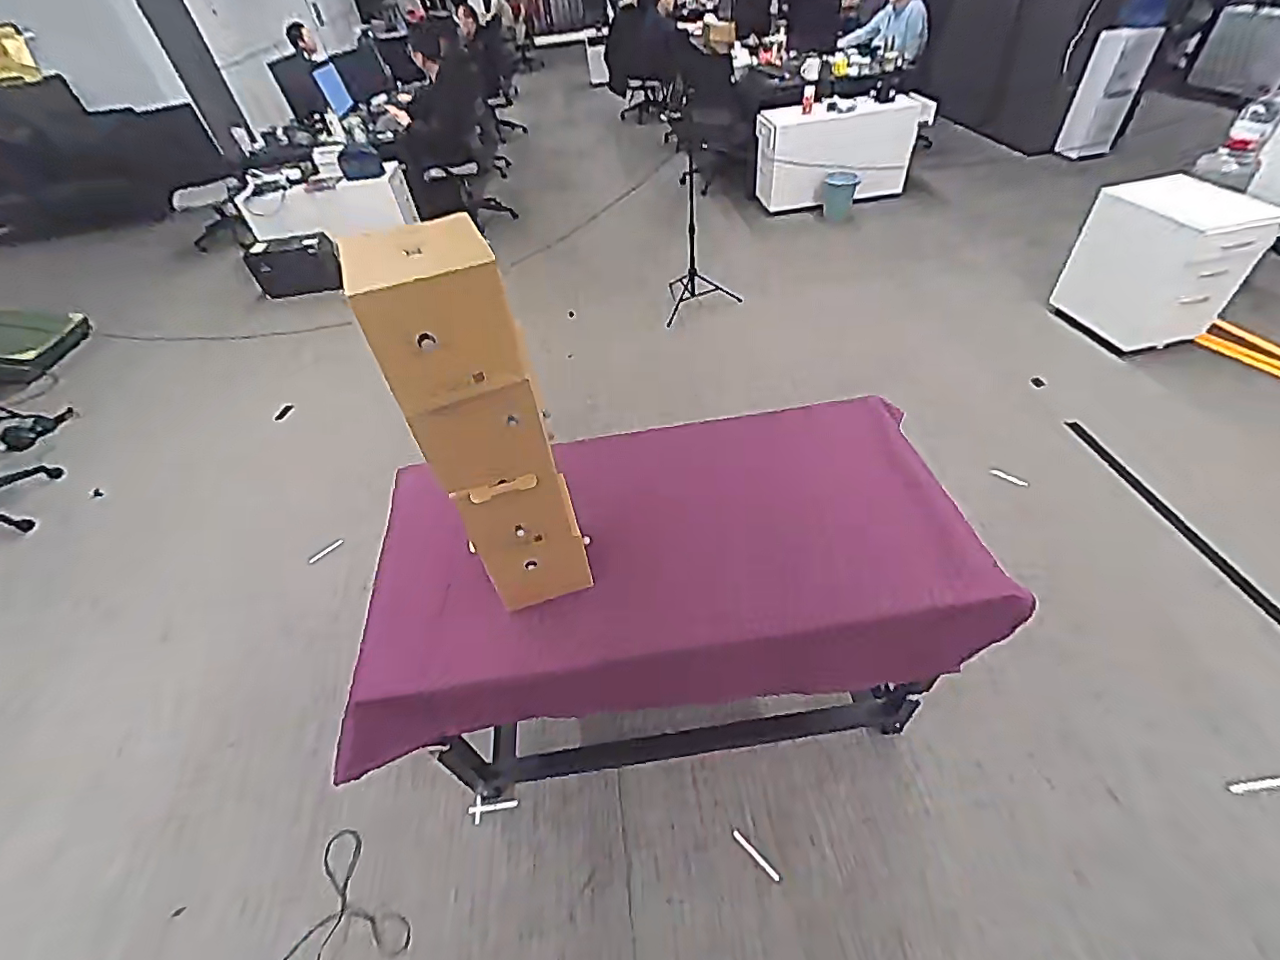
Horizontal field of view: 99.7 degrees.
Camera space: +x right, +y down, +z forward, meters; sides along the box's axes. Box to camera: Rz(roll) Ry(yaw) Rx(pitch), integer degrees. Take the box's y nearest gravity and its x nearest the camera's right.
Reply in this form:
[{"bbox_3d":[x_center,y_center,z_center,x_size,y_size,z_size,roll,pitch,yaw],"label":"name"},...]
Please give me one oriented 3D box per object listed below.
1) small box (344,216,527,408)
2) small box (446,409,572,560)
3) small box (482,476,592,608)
[{"bbox_3d":[-0.258,-0.212,0.698,0.168,0.176,0.179,-20,46,-14],"label":"small box"},{"bbox_3d":[-0.226,0.008,0.940,0.168,0.176,0.179,-16,46,-8],"label":"small box"},{"bbox_3d":[-0.203,0.125,1.054,0.179,0.176,0.168,-15,46,-9],"label":"small box"}]
